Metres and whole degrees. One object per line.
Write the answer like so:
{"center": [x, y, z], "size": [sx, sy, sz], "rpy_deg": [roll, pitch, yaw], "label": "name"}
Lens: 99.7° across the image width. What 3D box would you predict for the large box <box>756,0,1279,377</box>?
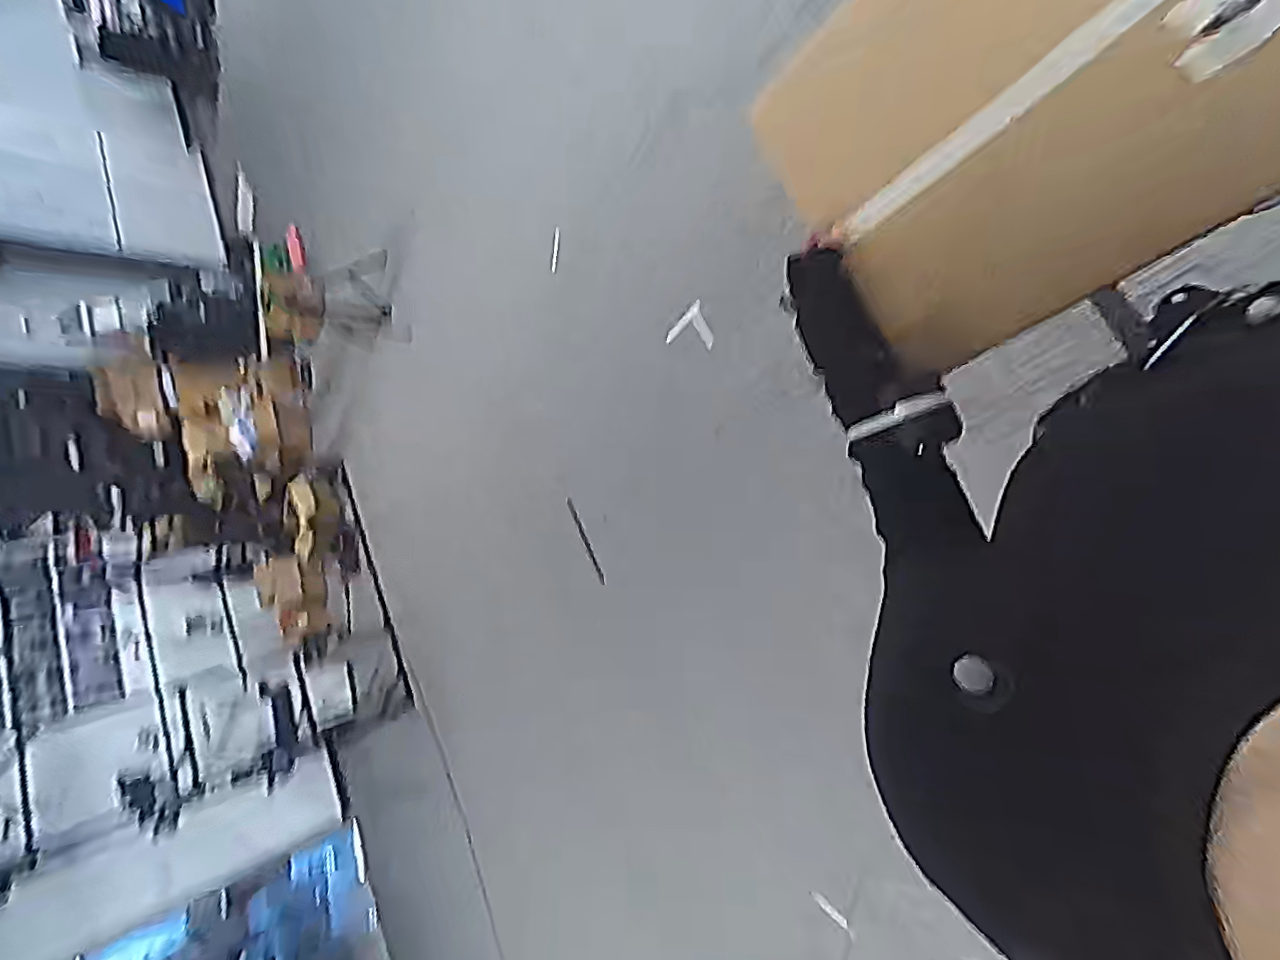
{"center": [0.398, -0.349, 0.515], "size": [0.408, 0.320, 0.320], "rpy_deg": [-33, 85, 39], "label": "large box"}
